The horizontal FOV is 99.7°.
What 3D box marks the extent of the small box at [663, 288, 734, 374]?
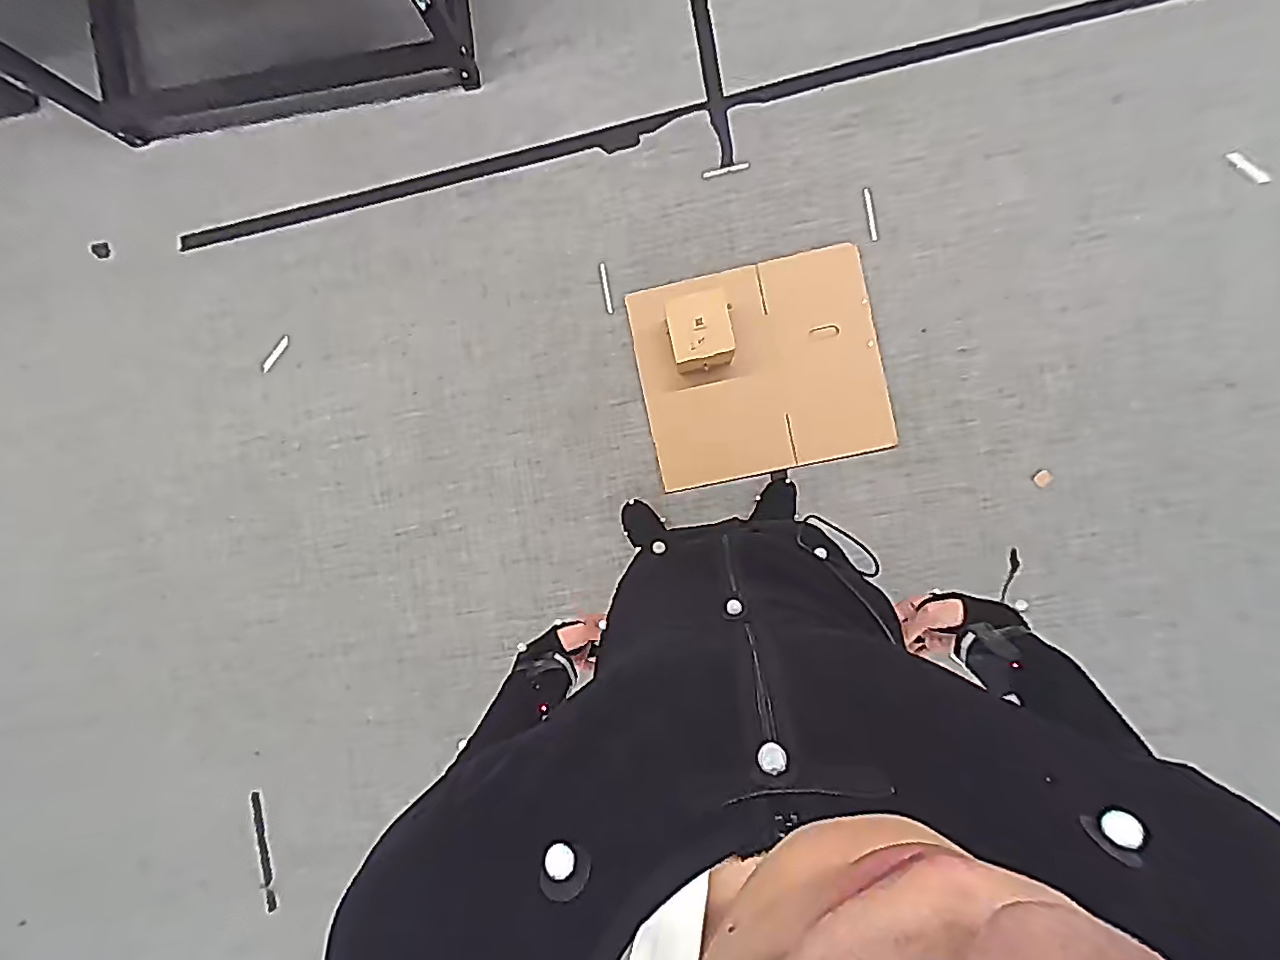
[{"bbox_3d":[0.162,-0.413,1.526,0.168,0.176,0.179,-12,90,6],"label":"small box"}]
